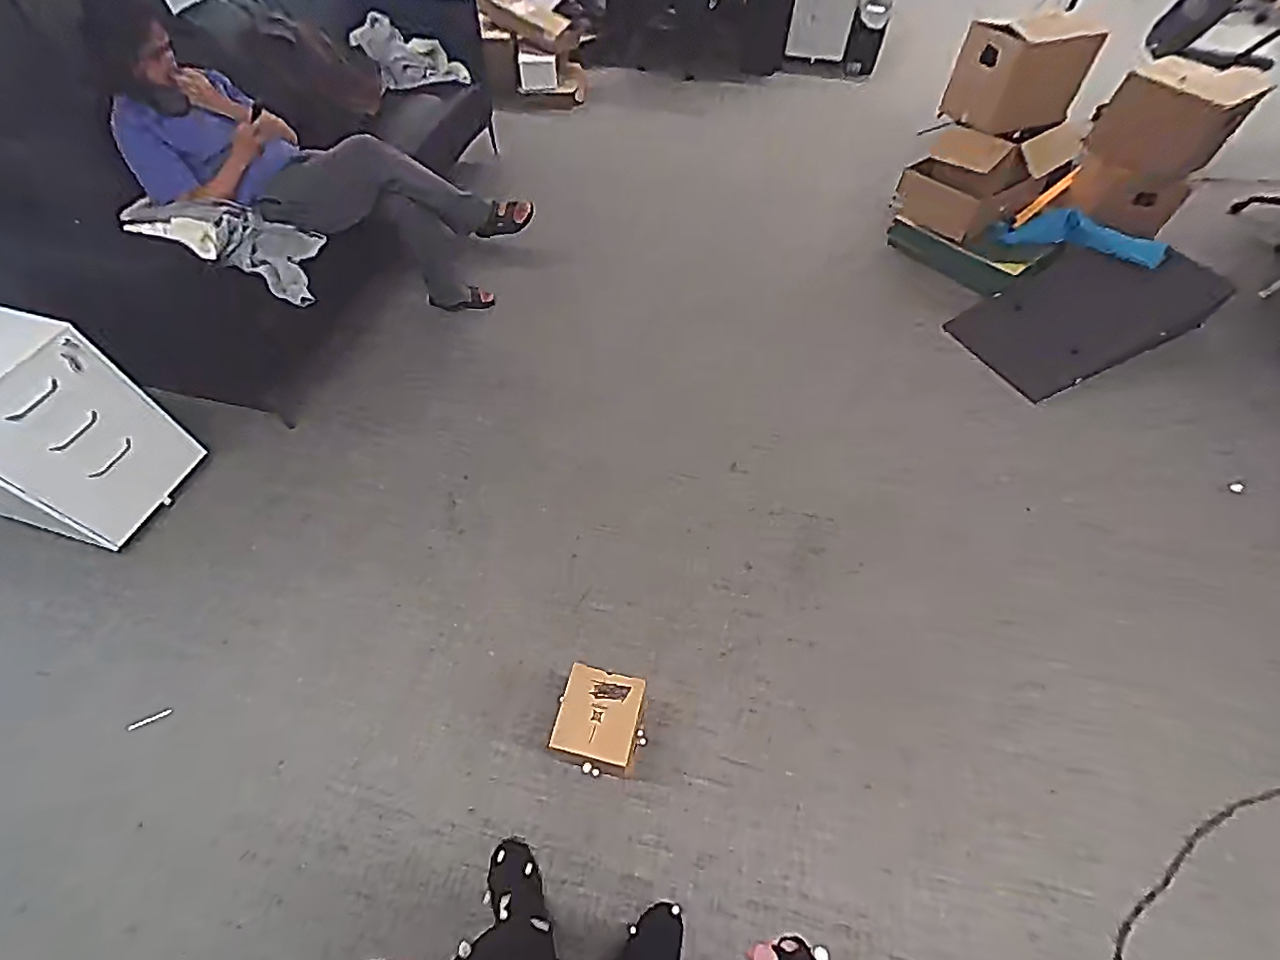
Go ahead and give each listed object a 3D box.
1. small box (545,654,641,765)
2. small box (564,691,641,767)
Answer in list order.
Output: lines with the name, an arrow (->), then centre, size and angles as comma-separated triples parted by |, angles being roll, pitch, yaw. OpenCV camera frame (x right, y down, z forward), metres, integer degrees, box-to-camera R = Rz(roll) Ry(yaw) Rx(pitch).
small box -> -0.100, 0.517, 1.209 | 0.168, 0.176, 0.179 | 12, 57, 7
small box -> -0.102, 0.603, 1.350 | 0.179, 0.176, 0.168 | 13, 56, 7
